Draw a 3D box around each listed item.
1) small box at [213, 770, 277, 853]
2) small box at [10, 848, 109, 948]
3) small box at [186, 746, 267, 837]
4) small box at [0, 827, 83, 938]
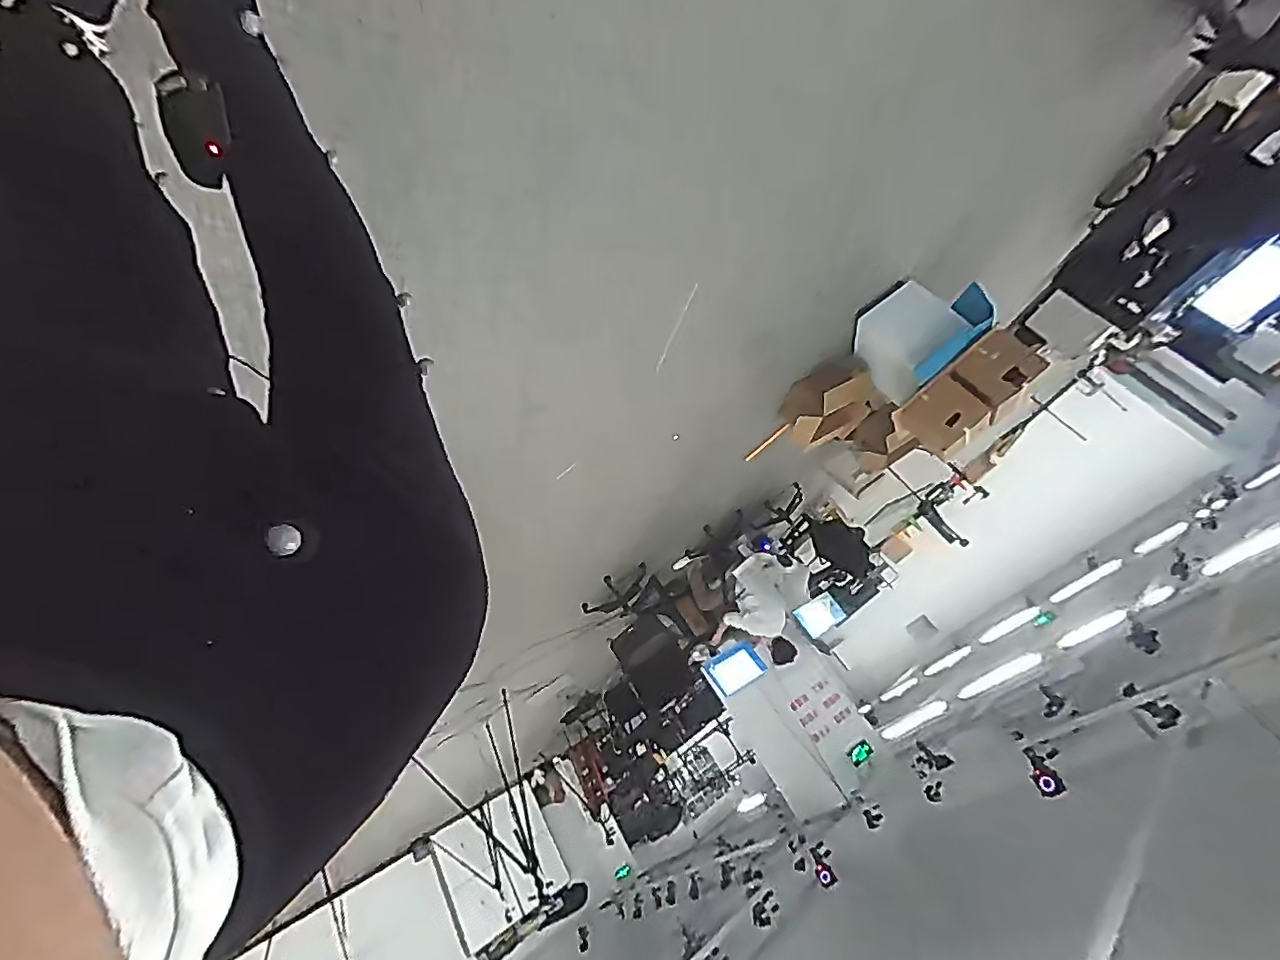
[{"bbox_3d":[-1.368,1.135,1.859,0.168,0.176,0.179,-14,147,-40],"label":"small box"},{"bbox_3d":[-1.694,1.218,1.581,0.168,0.176,0.179,-16,149,-39],"label":"small box"},{"bbox_3d":[-1.256,0.942,1.647,0.168,0.176,0.179,-14,149,-39],"label":"small box"},{"bbox_3d":[-1.570,1.024,1.380,0.168,0.176,0.179,-18,151,-38],"label":"small box"}]
